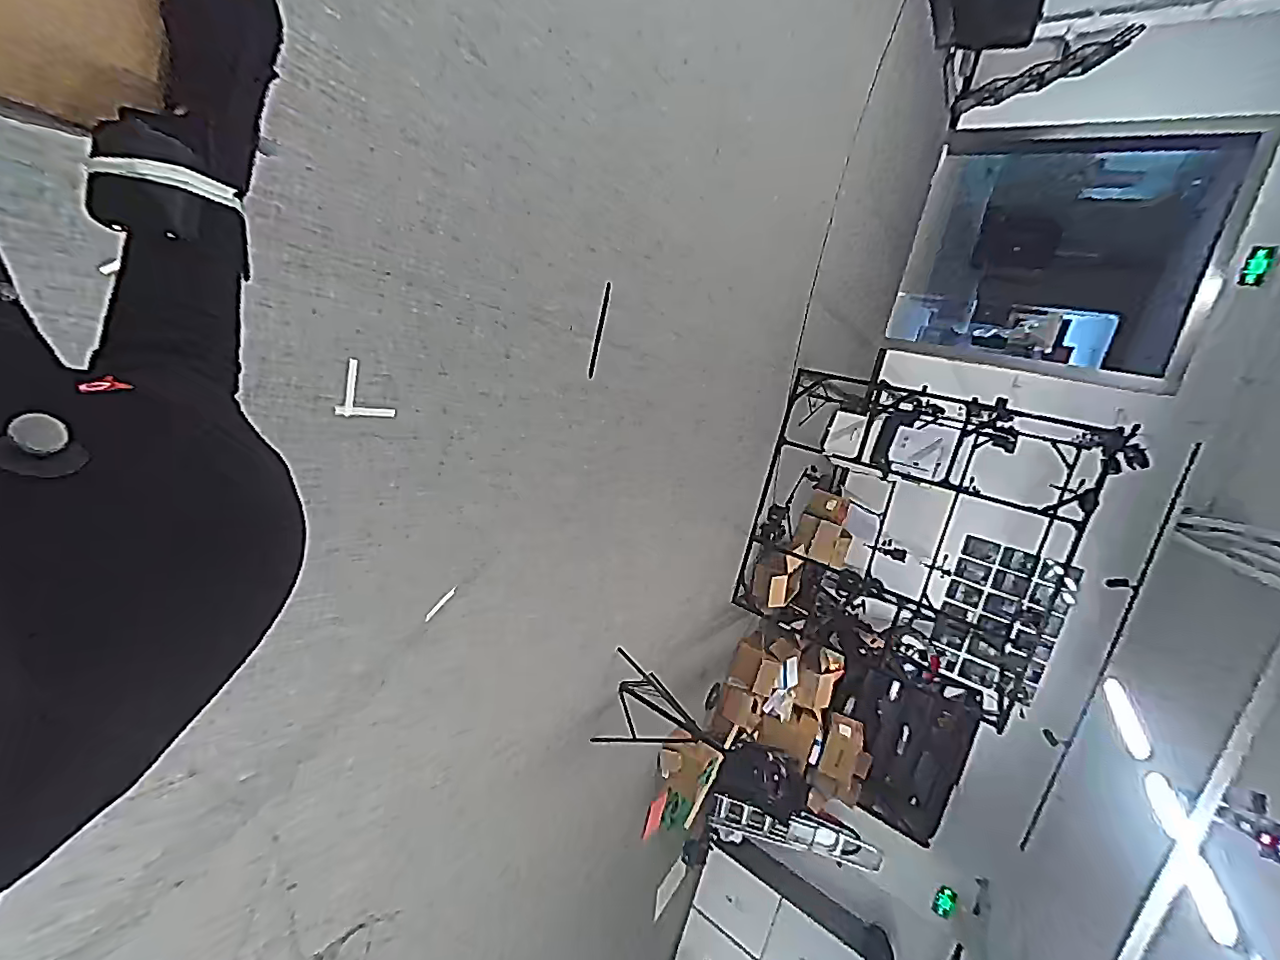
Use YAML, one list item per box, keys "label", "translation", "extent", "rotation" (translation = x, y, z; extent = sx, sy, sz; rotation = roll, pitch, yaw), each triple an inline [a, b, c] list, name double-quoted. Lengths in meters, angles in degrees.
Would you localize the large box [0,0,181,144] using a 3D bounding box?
- label: "large box"
  translation: [-0.525, -0.429, 0.258]
  extent: [0.408, 0.320, 0.320]
  rotation: [-6, 118, -60]
